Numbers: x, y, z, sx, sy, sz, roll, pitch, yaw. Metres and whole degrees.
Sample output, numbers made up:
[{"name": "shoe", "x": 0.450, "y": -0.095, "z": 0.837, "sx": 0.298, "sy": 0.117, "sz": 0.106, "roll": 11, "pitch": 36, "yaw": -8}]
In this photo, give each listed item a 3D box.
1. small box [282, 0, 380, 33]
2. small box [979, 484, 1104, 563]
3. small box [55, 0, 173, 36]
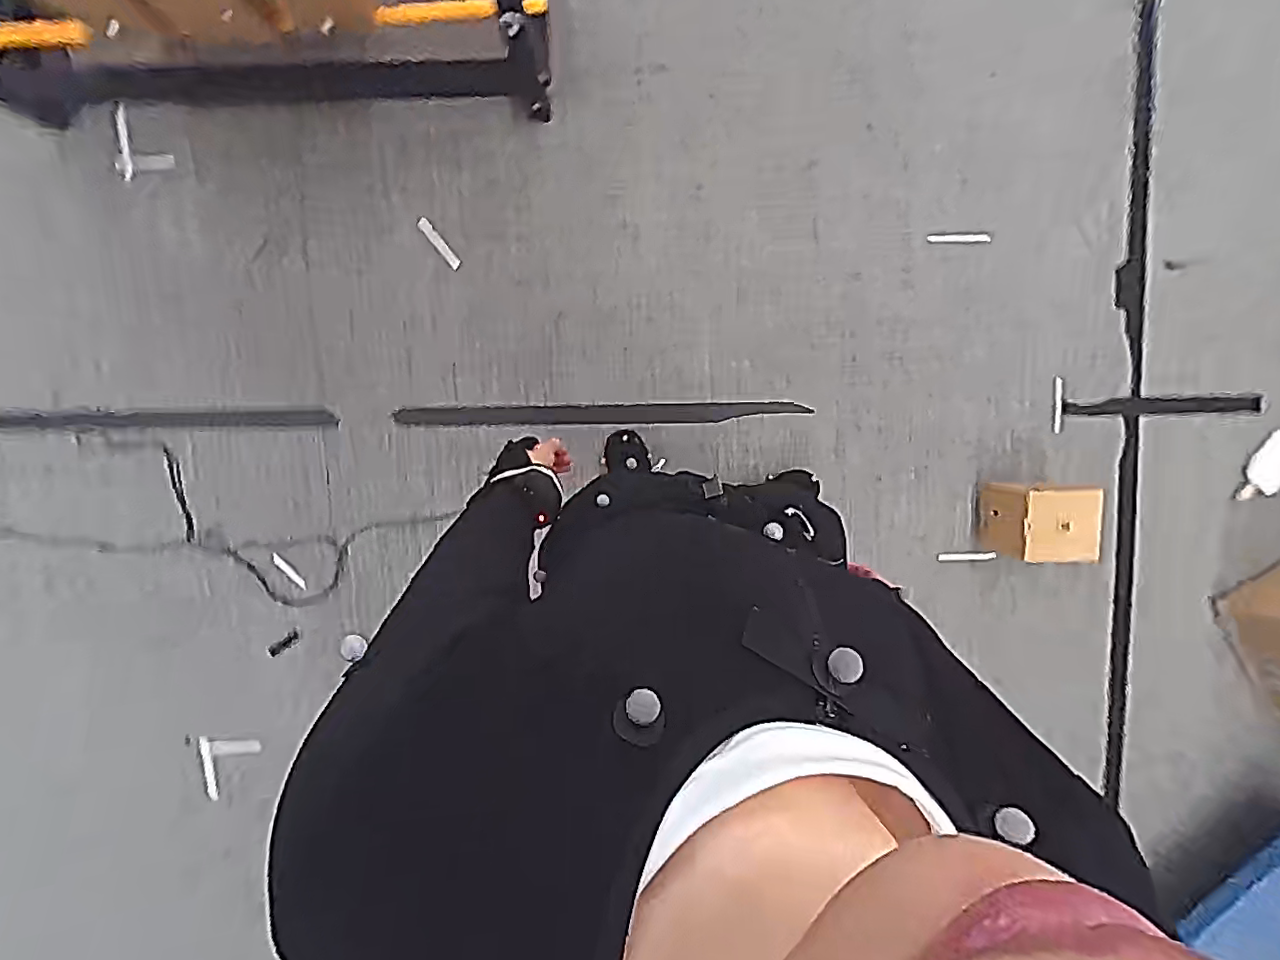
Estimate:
[{"name": "small box", "x": -0.633, "y": -1.023, "z": 1.052, "sx": 0.168, "sy": 0.176, "sz": 0.179, "roll": -3, "pitch": 99, "yaw": 0}, {"name": "small box", "x": 0.970, "y": 0.101, "z": 1.318, "sx": 0.179, "sy": 0.176, "sz": 0.168, "roll": -1, "pitch": 97, "yaw": 0}, {"name": "small box", "x": -1.059, "y": -1.009, "z": 1.043, "sx": 0.168, "sy": 0.176, "sz": 0.179, "roll": -1, "pitch": 99, "yaw": -2}]
